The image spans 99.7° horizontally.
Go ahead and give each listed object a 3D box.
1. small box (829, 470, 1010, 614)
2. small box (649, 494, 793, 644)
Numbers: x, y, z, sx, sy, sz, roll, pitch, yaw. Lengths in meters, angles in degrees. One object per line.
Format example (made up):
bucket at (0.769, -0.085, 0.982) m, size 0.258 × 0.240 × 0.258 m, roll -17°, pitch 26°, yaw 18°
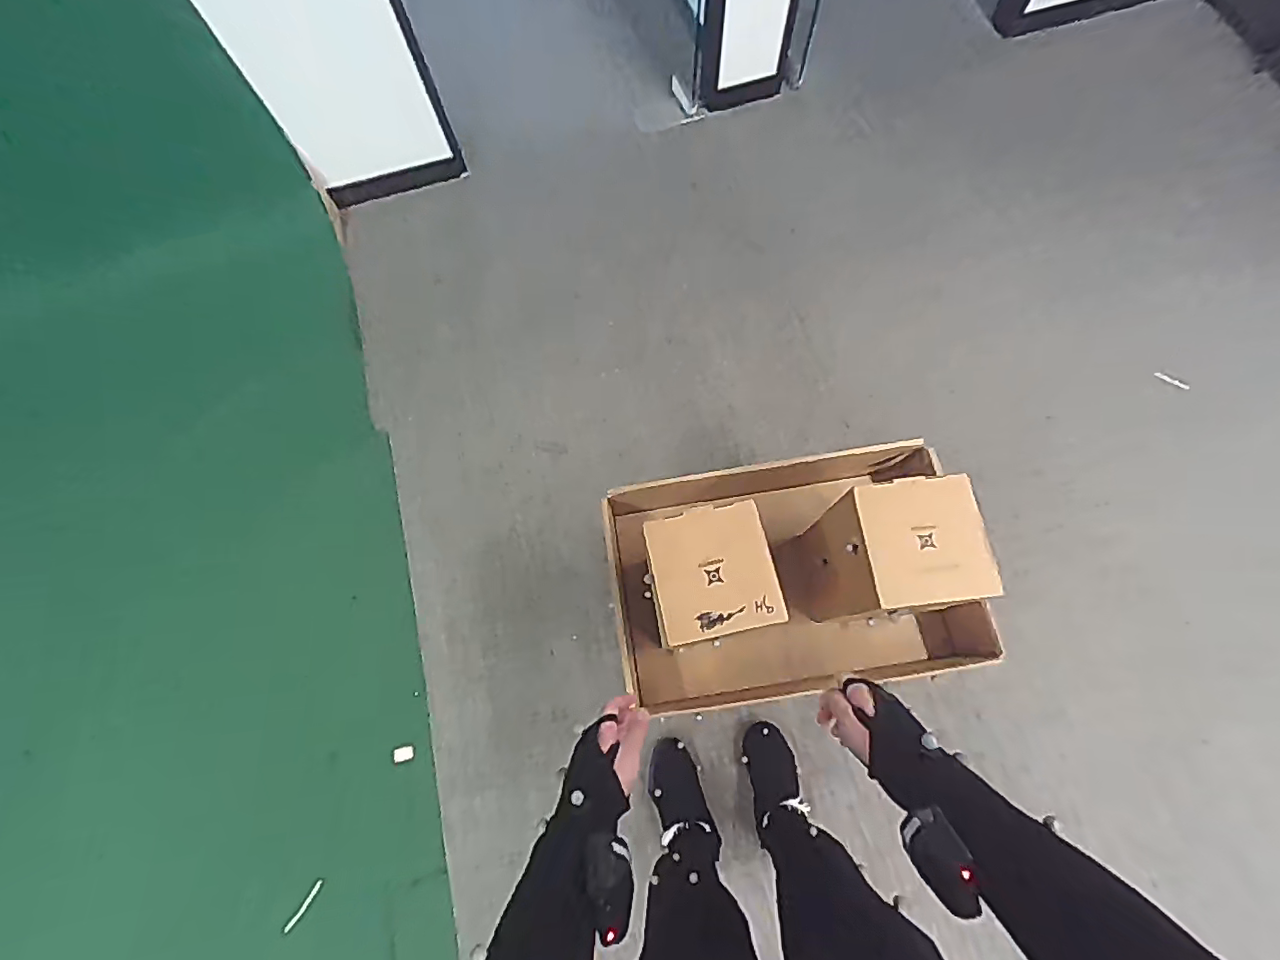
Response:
small box at (0.398, 0.099, 0.809) m, size 0.168 × 0.176 × 0.179 m, roll -6°, pitch 72°, yaw 1°
small box at (0.109, 0.139, 0.807) m, size 0.168 × 0.176 × 0.179 m, roll -11°, pitch 71°, yaw -1°
